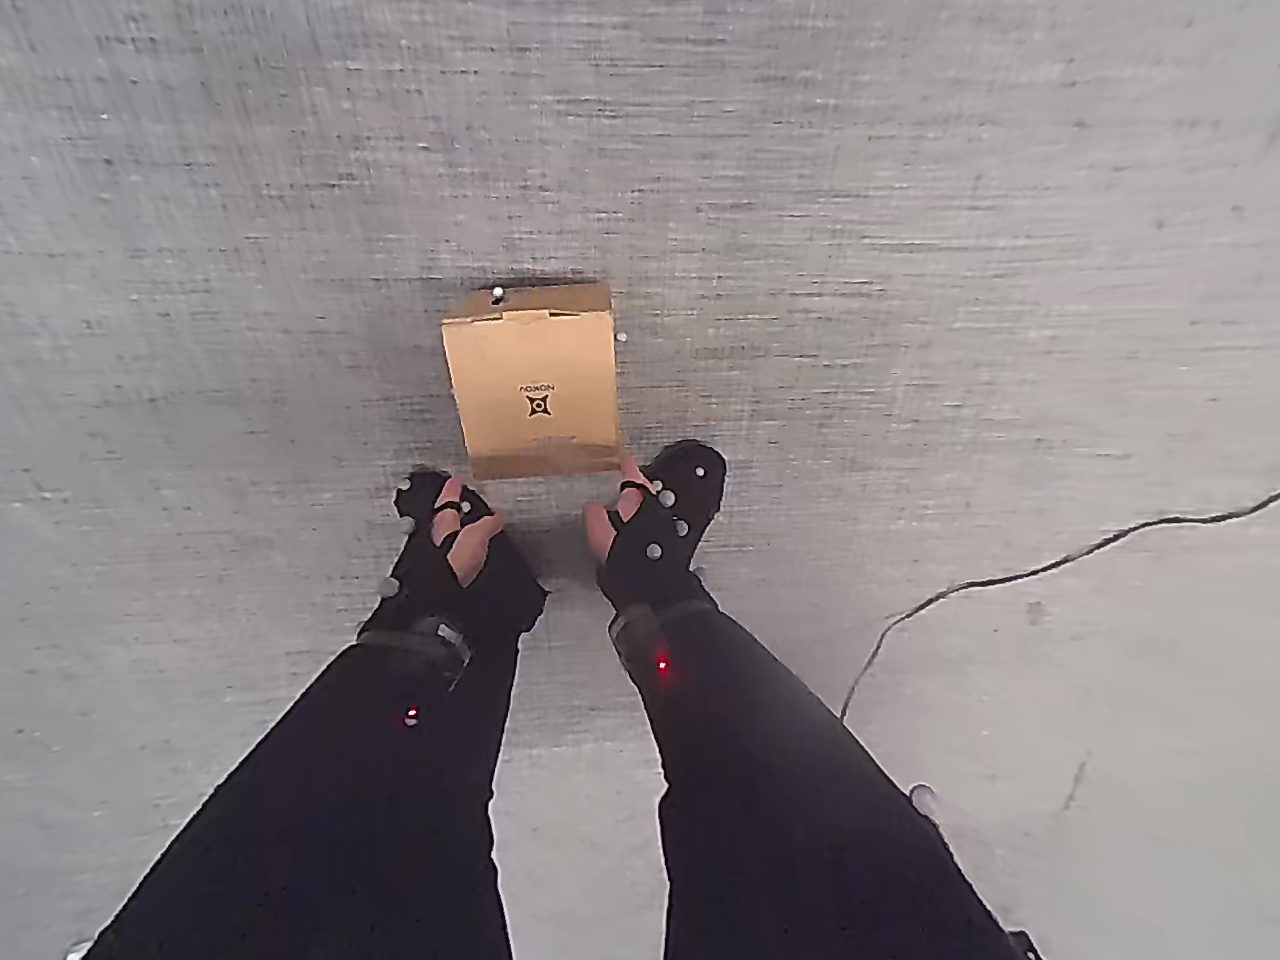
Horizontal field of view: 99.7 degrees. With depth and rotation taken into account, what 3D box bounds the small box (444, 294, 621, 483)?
[{"bbox_3d":[-0.112,-0.116,0.634,0.168,0.176,0.179,-4,120,-1],"label":"small box"}]
